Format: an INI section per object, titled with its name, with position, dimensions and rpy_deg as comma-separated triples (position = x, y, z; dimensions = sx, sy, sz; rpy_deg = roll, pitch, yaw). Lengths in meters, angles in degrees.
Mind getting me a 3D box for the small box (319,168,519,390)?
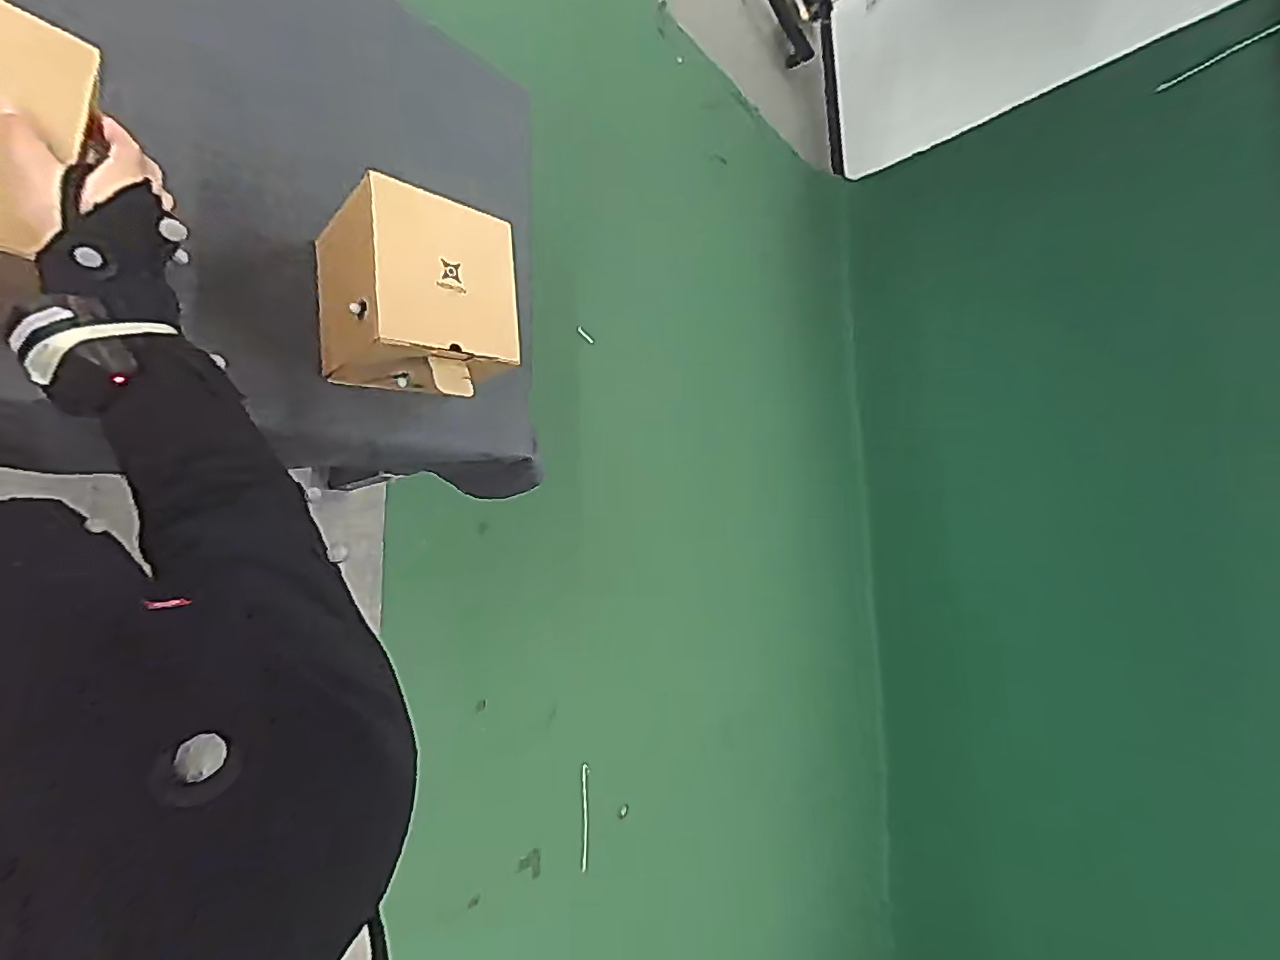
[small box]
position = -0.265, -0.217, 0.642
dimensions = 0.168, 0.176, 0.179
rpy_deg = -2, 86, -47
